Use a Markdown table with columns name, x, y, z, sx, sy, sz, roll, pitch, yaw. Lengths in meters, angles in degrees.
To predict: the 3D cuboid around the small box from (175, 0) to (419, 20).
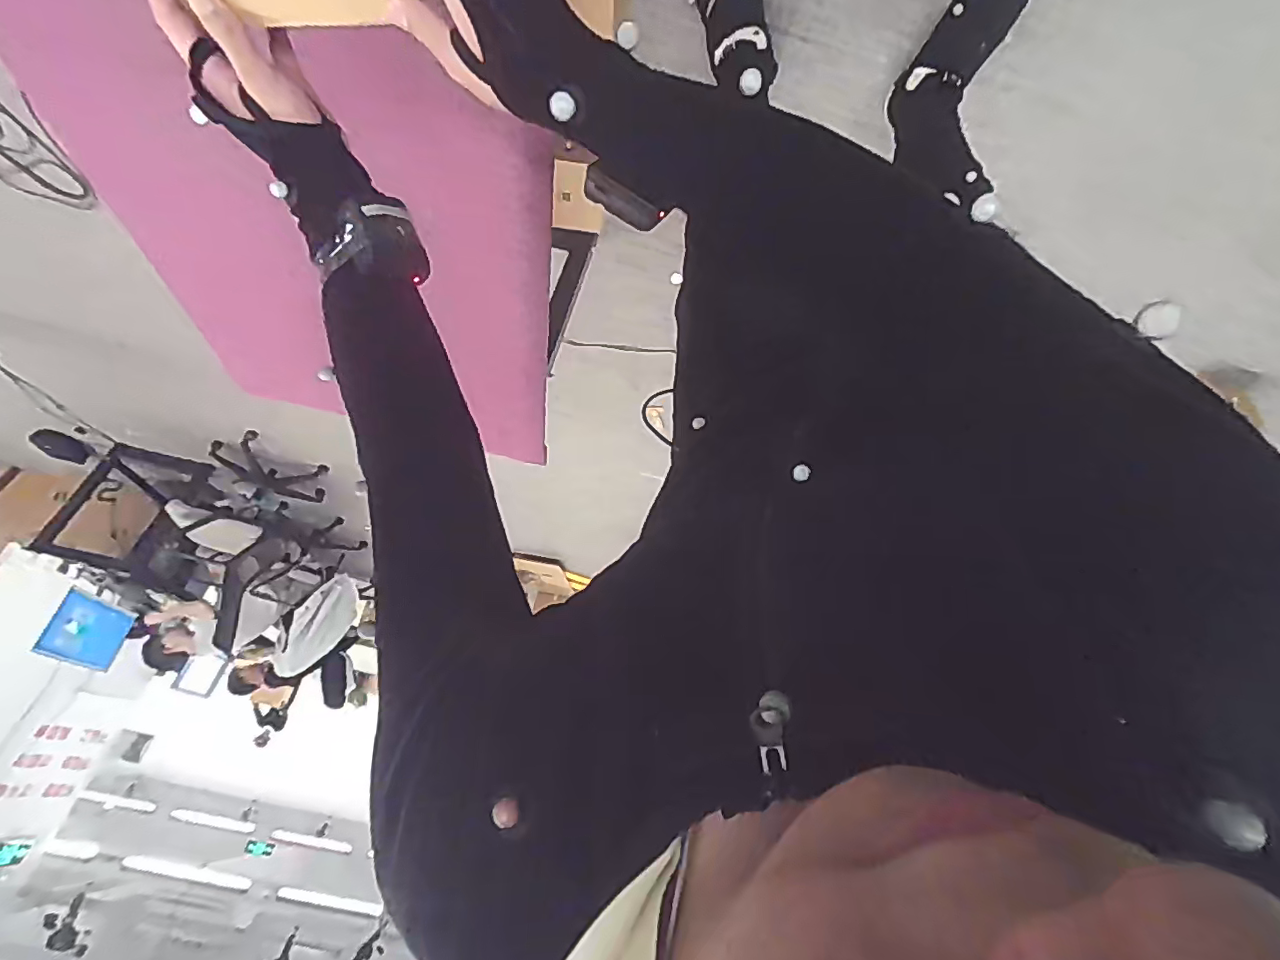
| name | x | y | z | sx | sy | sz | roll | pitch | yaw |
| --- | --- | --- | --- | --- | --- | --- | --- | --- | --- |
| small box | -0.229 | -0.428 | 0.343 | 0.179 | 0.176 | 0.168 | 7 | 148 | 11 |

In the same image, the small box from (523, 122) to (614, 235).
| name | x | y | z | sx | sy | sz | roll | pitch | yaw |
| --- | --- | --- | --- | --- | --- | --- | --- | --- | --- |
| small box | -0.158 | -0.707 | 1.265 | 0.179 | 0.176 | 0.168 | 10 | 148 | 4 |

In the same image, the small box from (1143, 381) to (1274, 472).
| name | x | y | z | sx | sy | sz | roll | pitch | yaw |
| --- | --- | --- | --- | --- | --- | --- | --- | --- | --- |
| small box | 1.596 | -0.154 | 1.534 | 0.168 | 0.176 | 0.179 | 15 | 148 | -4 |
